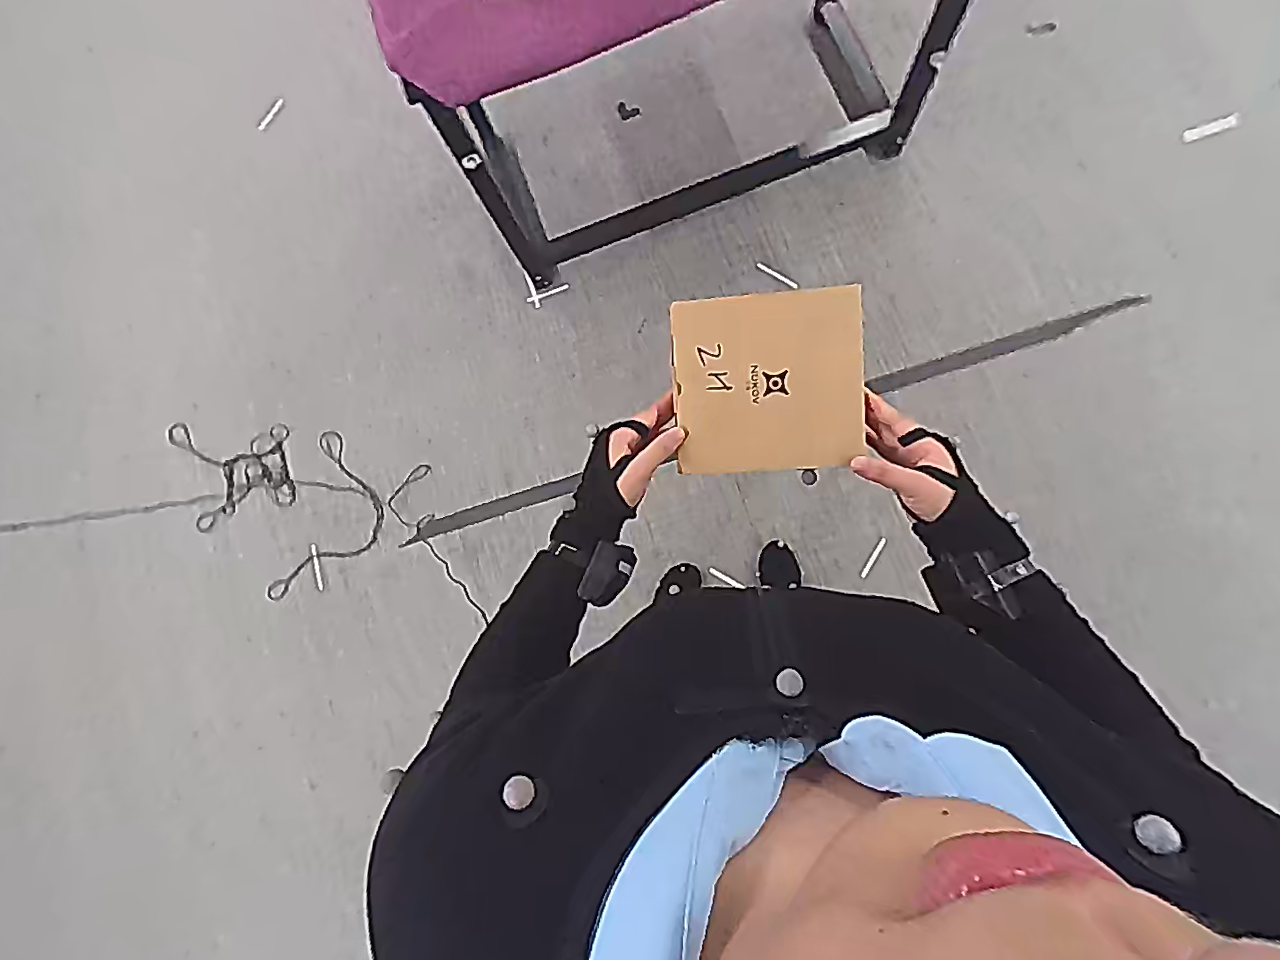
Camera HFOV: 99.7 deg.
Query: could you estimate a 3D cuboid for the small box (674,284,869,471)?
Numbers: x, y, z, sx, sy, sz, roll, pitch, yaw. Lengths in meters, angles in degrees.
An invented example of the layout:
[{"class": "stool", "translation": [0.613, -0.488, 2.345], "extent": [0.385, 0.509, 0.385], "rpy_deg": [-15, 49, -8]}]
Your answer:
[{"class": "small box", "translation": [0.132, -0.098, 0.581], "extent": [0.179, 0.176, 0.168], "rpy_deg": [-3, 93, 9]}]
